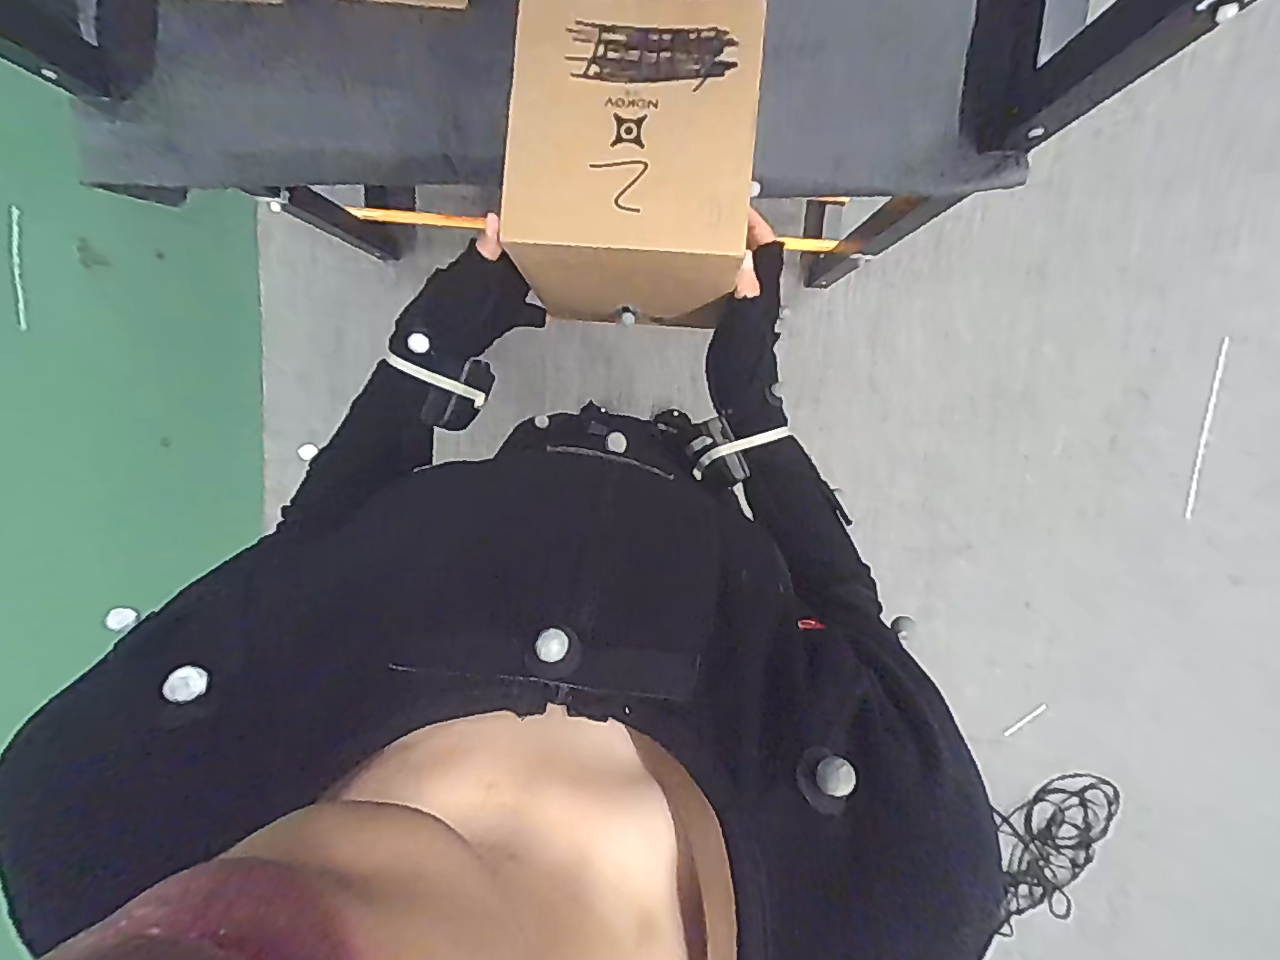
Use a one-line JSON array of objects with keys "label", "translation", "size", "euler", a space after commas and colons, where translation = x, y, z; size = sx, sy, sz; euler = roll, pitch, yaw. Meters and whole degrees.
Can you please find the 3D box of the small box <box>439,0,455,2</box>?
[{"label": "small box", "translation": [-0.289, -0.665, 0.576], "size": [0.168, 0.176, 0.179], "euler": [5, 98, 0]}]
